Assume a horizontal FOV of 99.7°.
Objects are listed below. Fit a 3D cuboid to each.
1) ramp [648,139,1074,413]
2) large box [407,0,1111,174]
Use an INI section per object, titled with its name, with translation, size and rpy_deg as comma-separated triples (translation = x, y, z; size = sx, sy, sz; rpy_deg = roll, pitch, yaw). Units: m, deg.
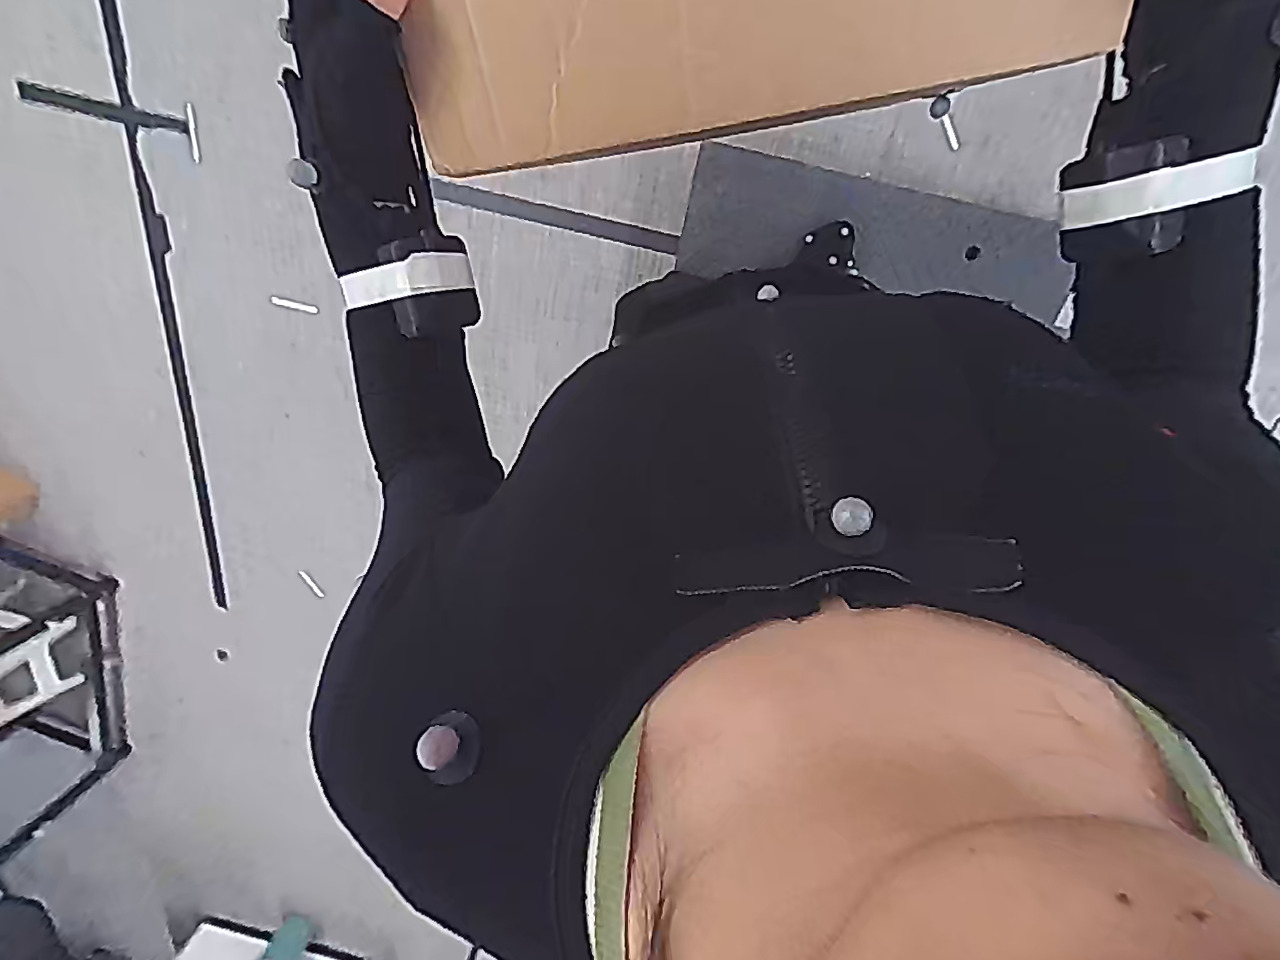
[ramp]
translation = 0.550, -0.479, 1.377
size = 0.991, 0.206, 0.509
rpy_deg = 12, 114, 2
[large box]
translation = 0.057, -0.433, 0.385
size = 0.408, 0.320, 0.320
rpy_deg = -6, 120, 6
